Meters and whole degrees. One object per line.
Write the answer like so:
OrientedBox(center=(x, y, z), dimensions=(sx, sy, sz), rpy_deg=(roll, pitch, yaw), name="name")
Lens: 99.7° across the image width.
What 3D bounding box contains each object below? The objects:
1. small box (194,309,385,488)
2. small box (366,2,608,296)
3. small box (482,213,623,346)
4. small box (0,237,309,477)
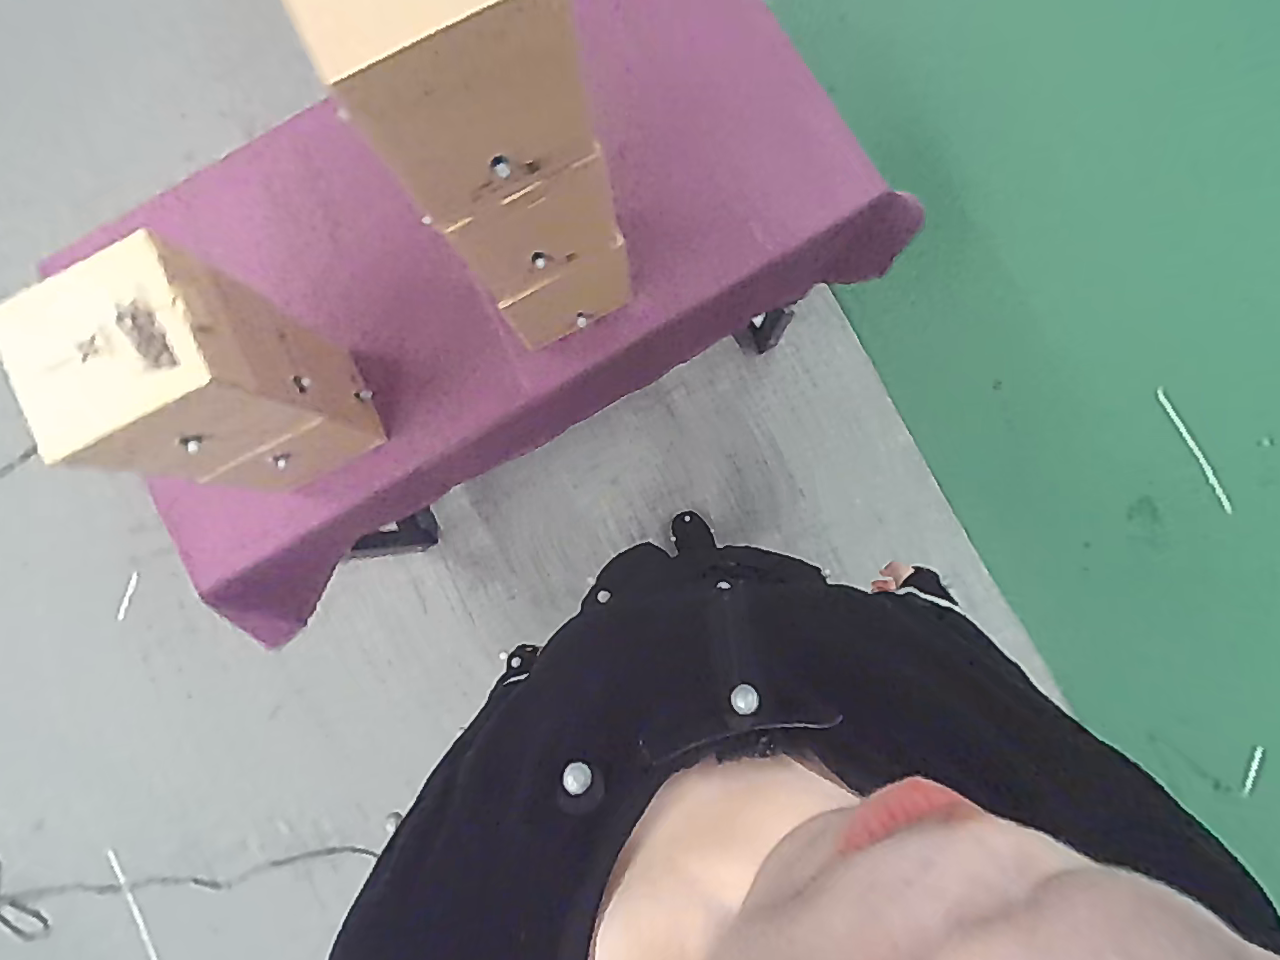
OrientedBox(center=(-0.495, -0.097, 0.745), dimensions=(0.179, 0.176, 0.168), rpy_deg=(-27, 85, -1), name="small box")
OrientedBox(center=(-0.148, -0.336, 0.585), dimensions=(0.168, 0.176, 0.179), rpy_deg=(-28, 86, 0), name="small box")
OrientedBox(center=(-0.134, -0.314, 0.746), dimensions=(0.179, 0.176, 0.168), rpy_deg=(-29, 84, 0), name="small box")
OrientedBox(center=(-0.499, -0.115, 0.582), dimensions=(0.179, 0.176, 0.168), rpy_deg=(-28, 85, 1), name="small box")
